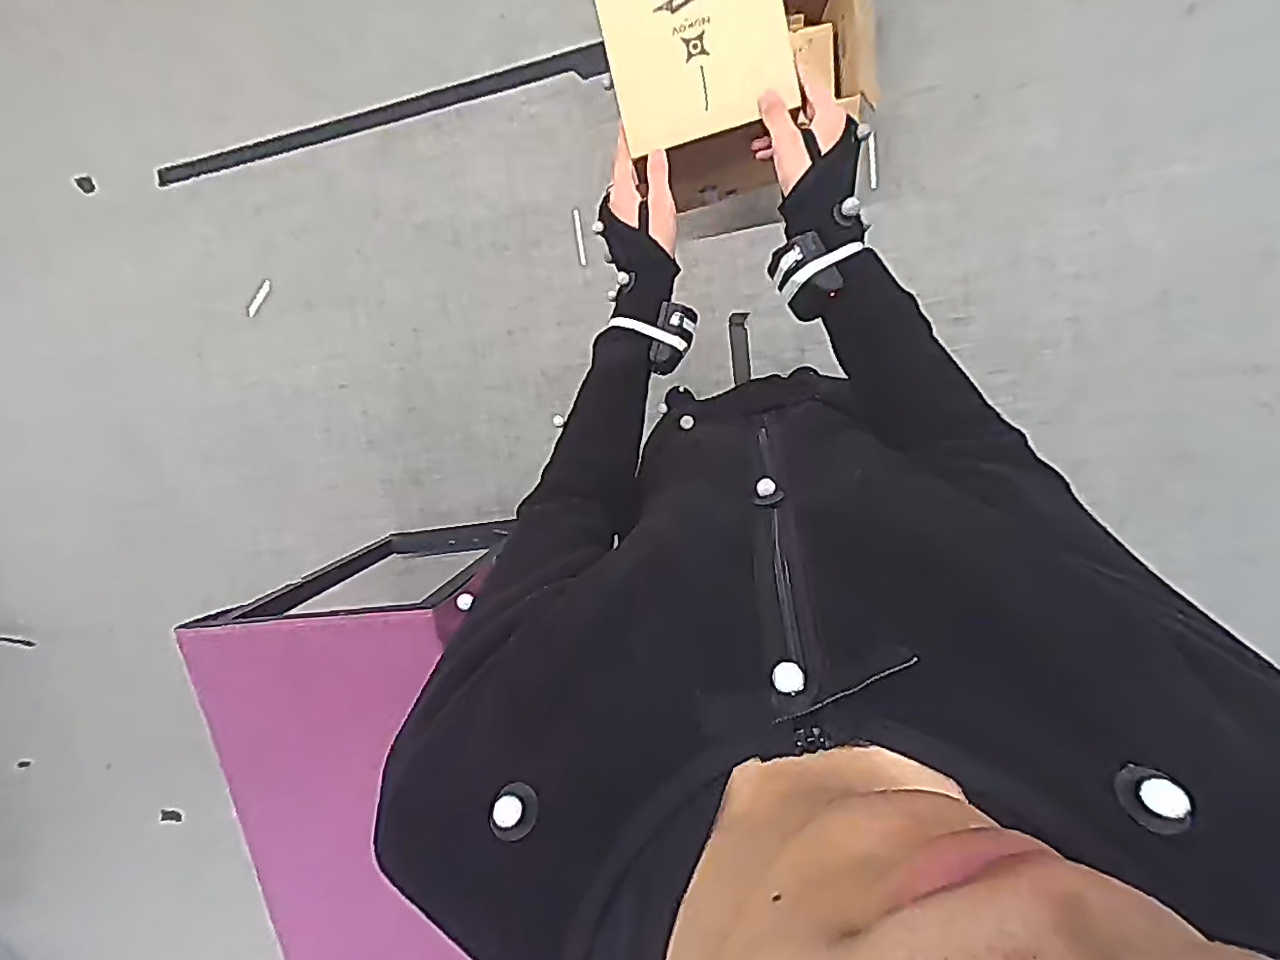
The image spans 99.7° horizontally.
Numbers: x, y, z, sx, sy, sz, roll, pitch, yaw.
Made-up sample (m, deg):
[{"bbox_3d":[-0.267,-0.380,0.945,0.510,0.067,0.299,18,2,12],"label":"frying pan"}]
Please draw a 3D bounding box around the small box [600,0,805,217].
[{"bbox_3d":[0.062,-0.412,0.569,0.168,0.176,0.179,-13,95,9],"label":"small box"}]
